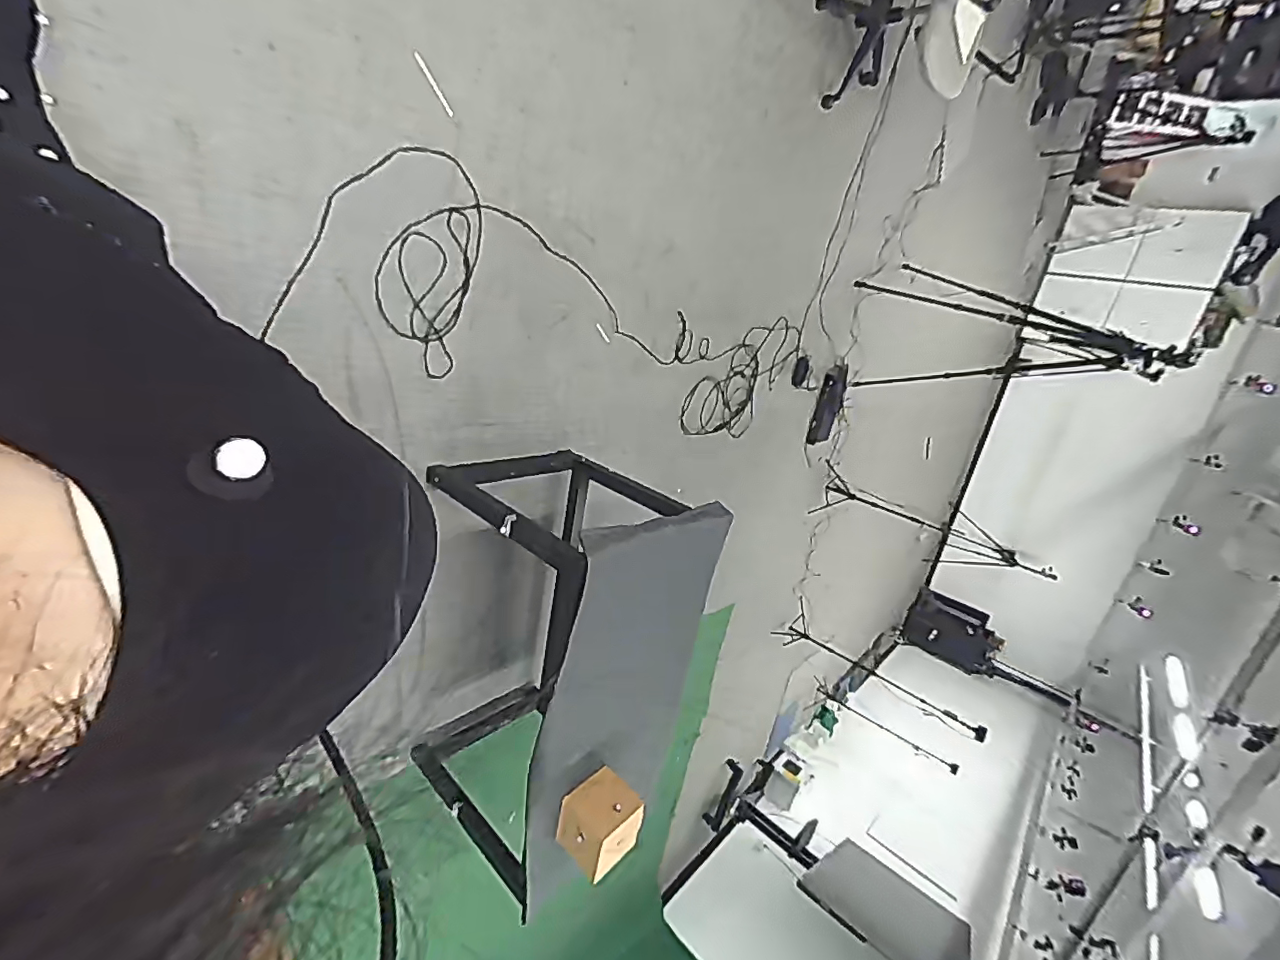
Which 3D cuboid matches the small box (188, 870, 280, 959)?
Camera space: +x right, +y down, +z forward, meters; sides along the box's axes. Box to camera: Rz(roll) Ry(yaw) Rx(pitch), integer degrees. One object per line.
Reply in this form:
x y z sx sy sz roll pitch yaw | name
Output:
-1.222 1.320 1.621 0.168 0.176 0.179 15 98 -52 | small box

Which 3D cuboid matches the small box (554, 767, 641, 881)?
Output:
-0.126 0.975 1.550 0.179 0.176 0.168 -12 119 -49 | small box

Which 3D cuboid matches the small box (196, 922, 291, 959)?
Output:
-1.123 1.373 1.500 0.179 0.176 0.168 -56 141 -11 | small box
